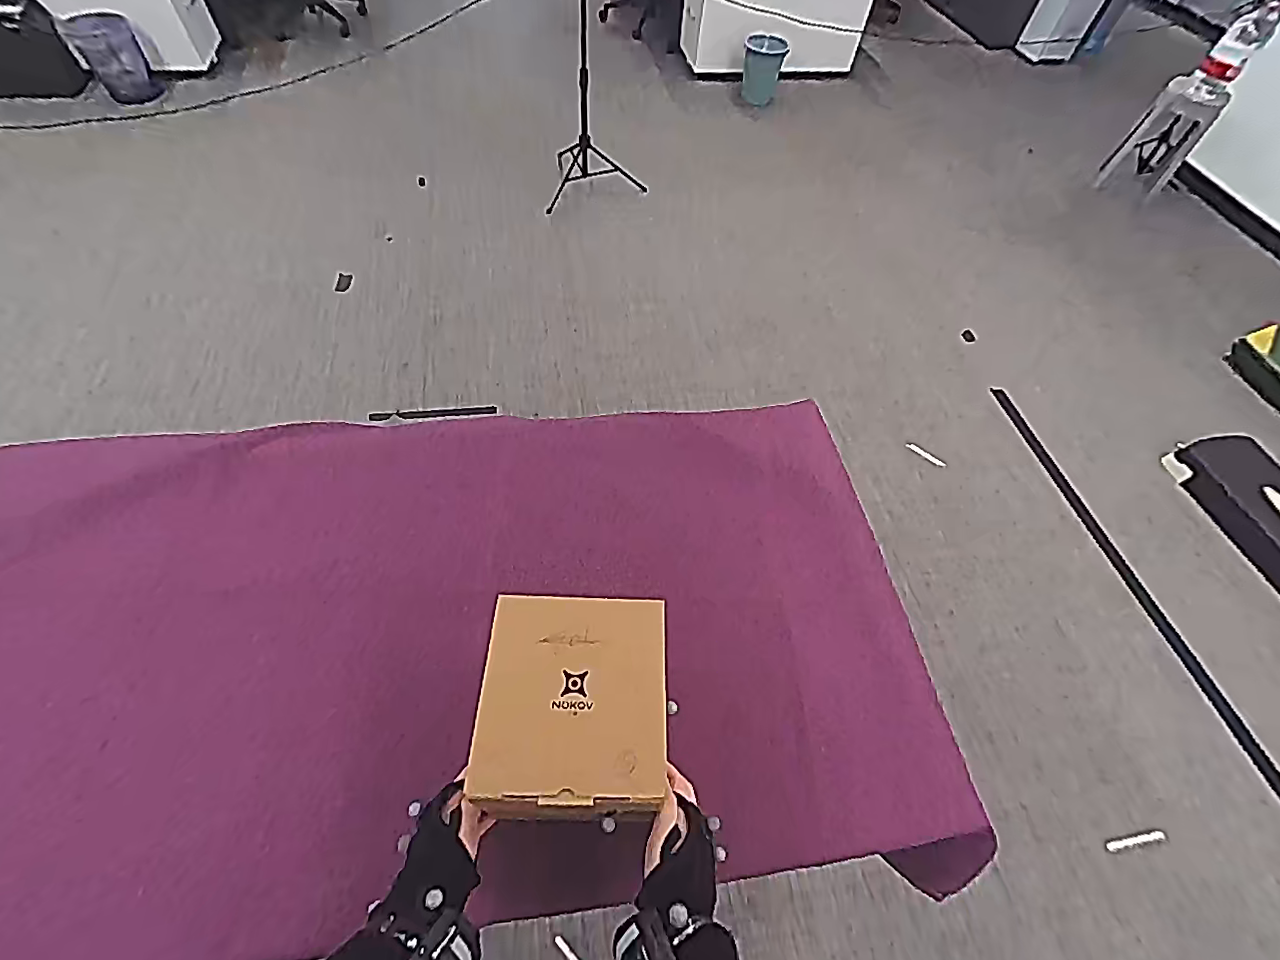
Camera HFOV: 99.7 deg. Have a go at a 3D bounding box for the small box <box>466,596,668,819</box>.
[{"bbox_3d":[-0.061,0.235,0.547,0.168,0.176,0.179,3,54,-2],"label":"small box"}]
